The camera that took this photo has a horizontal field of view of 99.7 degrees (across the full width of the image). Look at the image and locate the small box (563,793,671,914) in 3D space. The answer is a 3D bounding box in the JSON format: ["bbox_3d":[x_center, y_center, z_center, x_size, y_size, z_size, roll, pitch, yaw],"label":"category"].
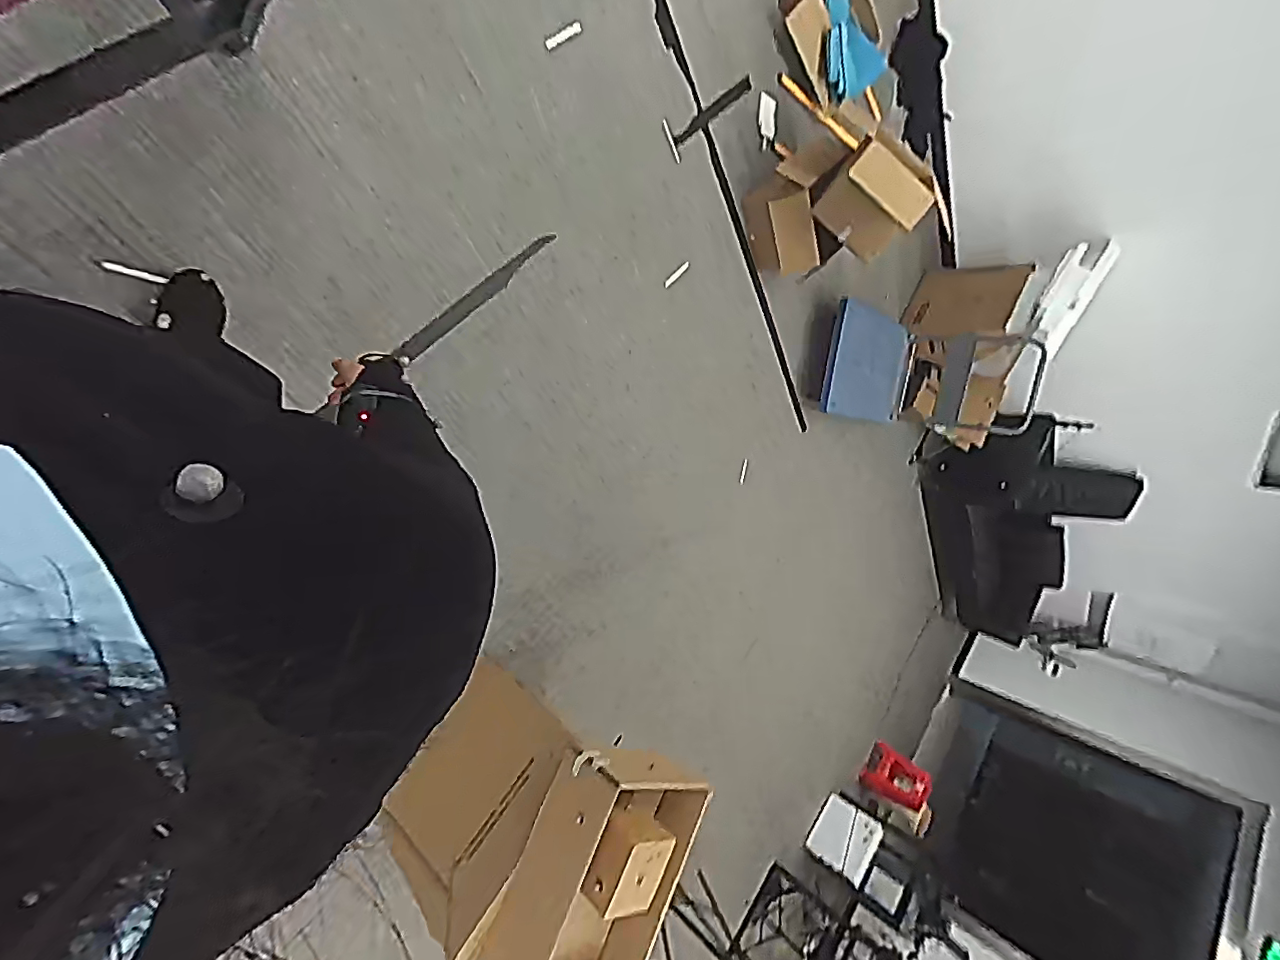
[{"bbox_3d":[-0.062,0.902,1.321,0.168,0.176,0.179,33,78,-44],"label":"small box"}]
